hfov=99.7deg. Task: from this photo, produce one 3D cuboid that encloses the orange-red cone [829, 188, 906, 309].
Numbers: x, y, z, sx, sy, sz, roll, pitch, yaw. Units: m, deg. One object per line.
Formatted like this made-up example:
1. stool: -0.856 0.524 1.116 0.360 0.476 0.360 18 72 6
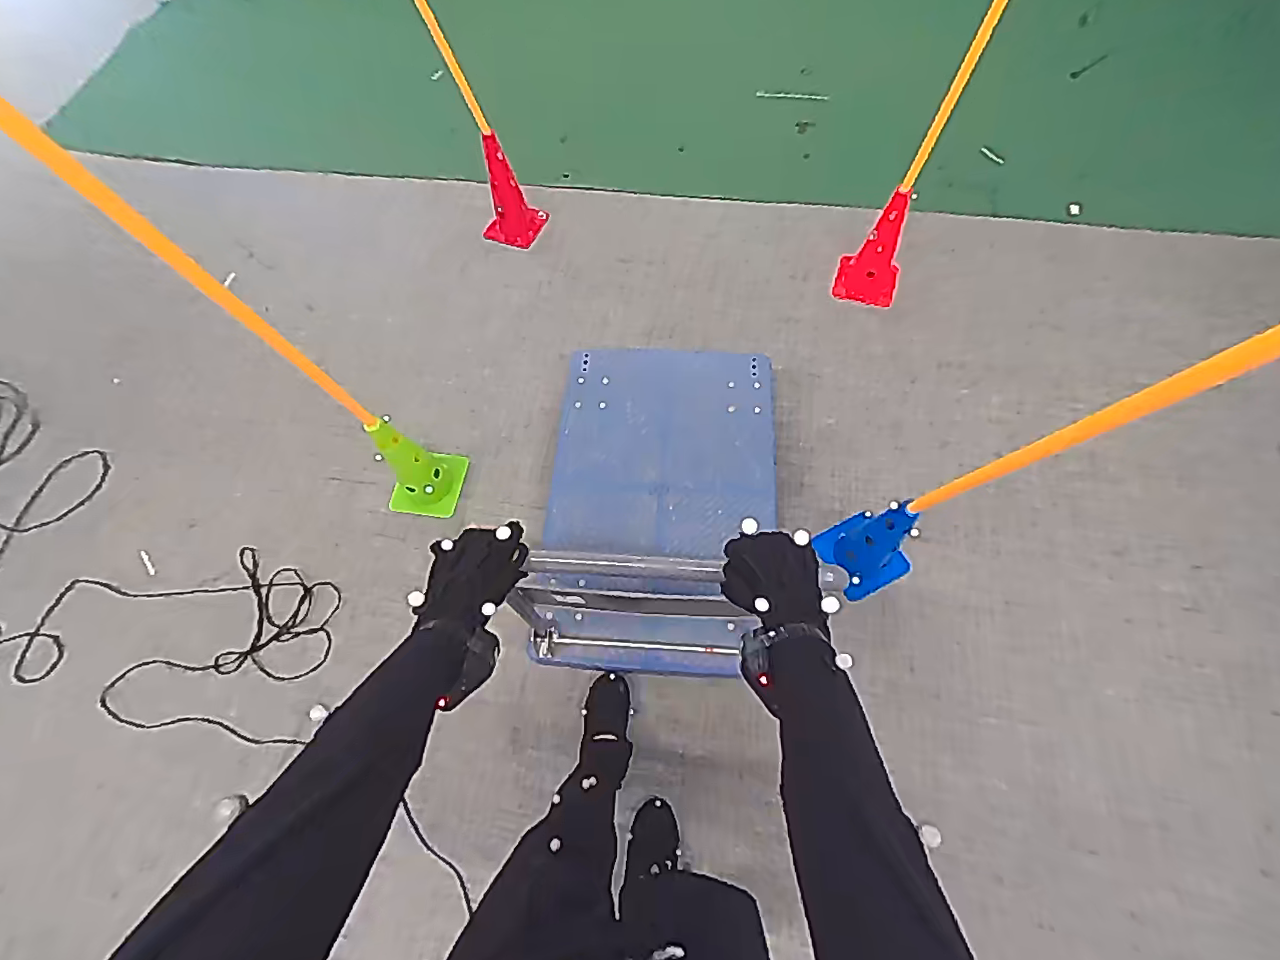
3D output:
1. orange-red cone: 0.753 -0.746 1.700 0.198 0.360 0.199 18 68 12
